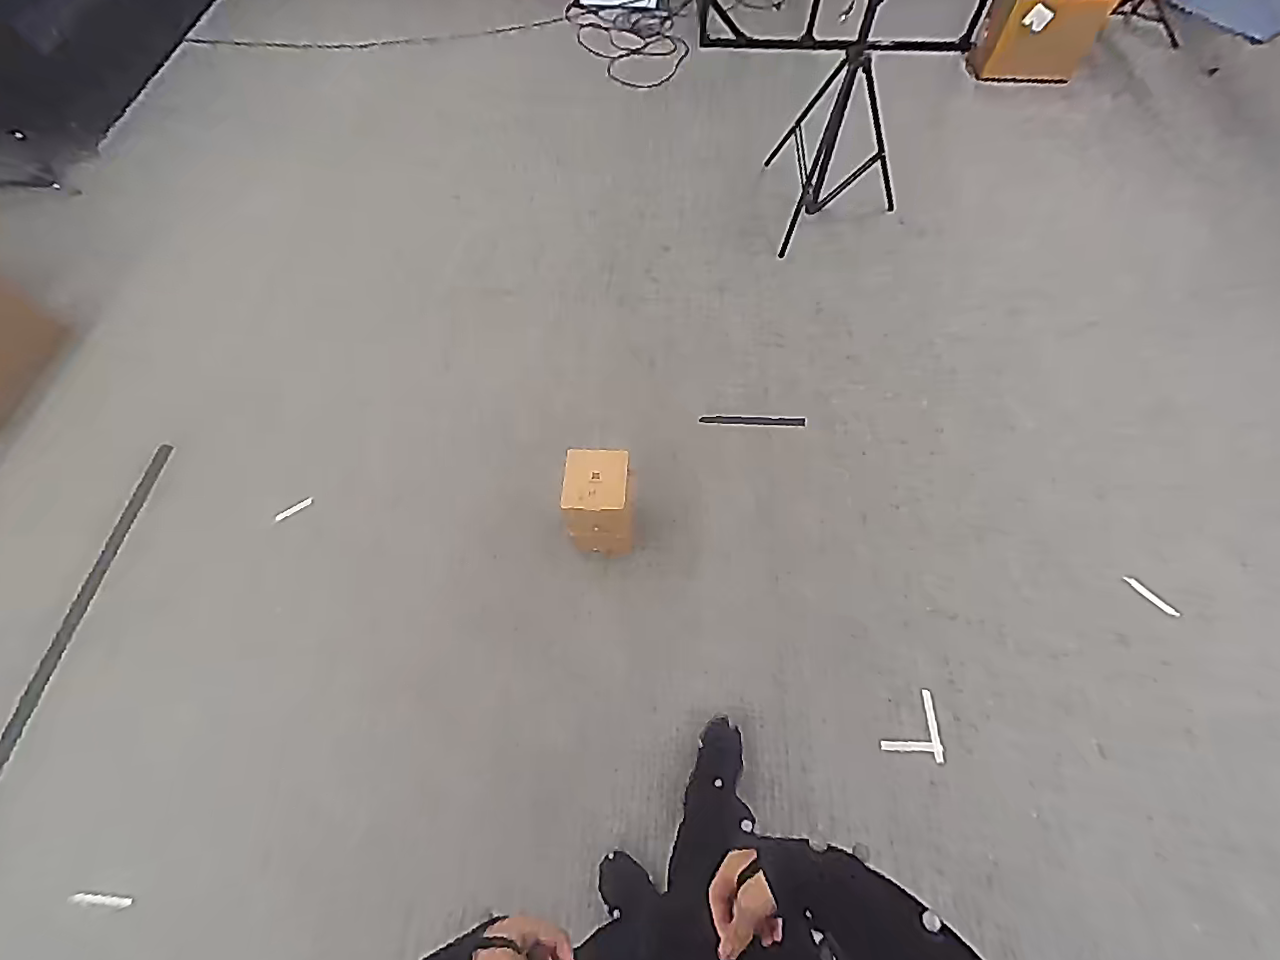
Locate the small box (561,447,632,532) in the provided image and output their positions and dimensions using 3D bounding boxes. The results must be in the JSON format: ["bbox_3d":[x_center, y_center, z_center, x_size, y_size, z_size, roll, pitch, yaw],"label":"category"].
[{"bbox_3d":[-0.111,0.028,1.472,0.168,0.176,0.179,2,63,4],"label":"small box"}]

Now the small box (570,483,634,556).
[{"bbox_3d":[-0.107,0.111,1.614,0.168,0.176,0.179,2,62,4],"label":"small box"}]
